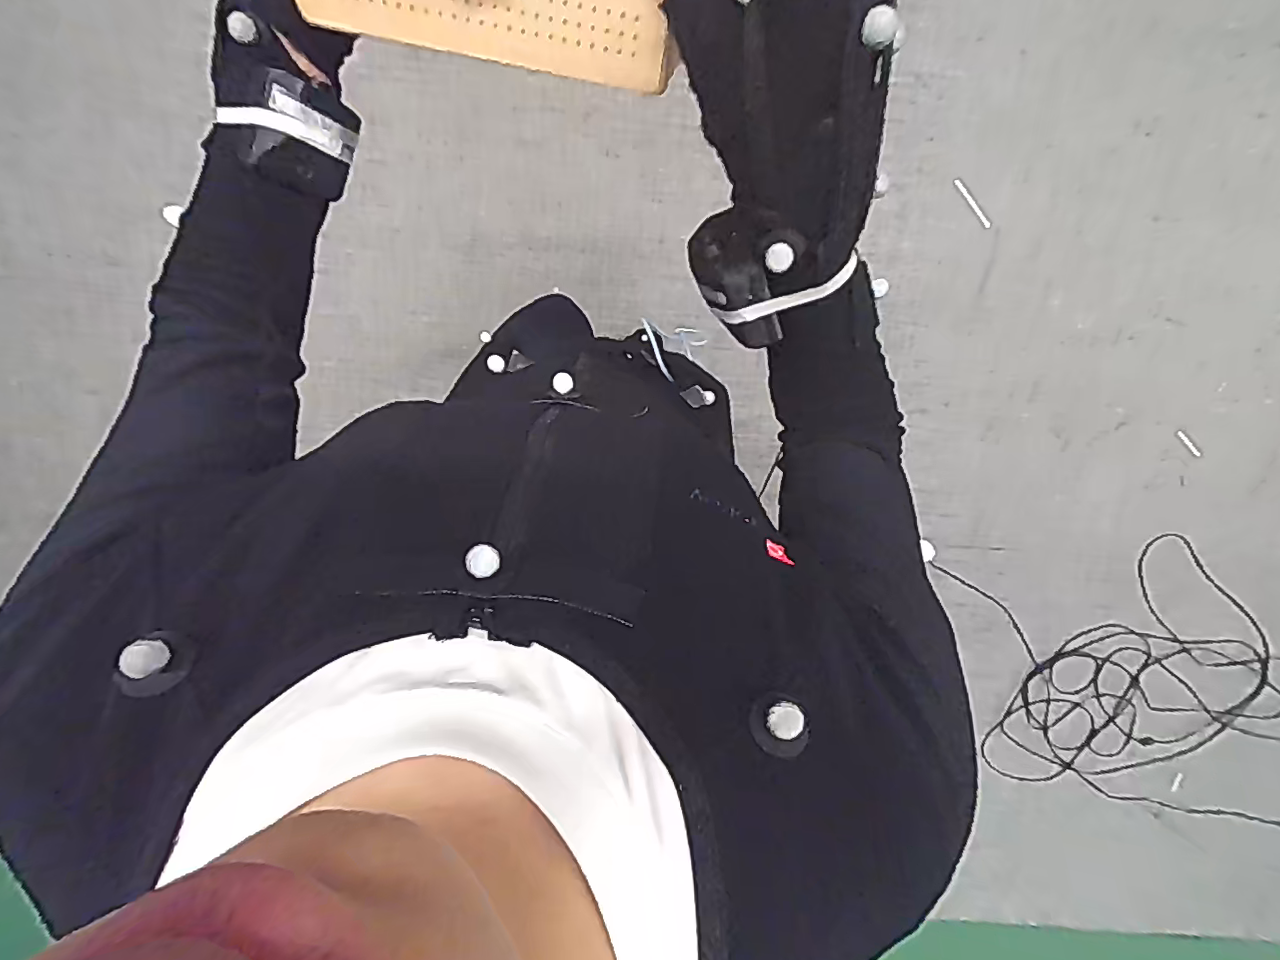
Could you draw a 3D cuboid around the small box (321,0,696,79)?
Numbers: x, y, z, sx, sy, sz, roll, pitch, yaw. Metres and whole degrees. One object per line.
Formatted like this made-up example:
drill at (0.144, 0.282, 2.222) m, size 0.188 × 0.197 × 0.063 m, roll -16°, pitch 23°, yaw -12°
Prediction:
small box at (-0.050, -0.315, 0.252) m, size 0.179 × 0.168 × 0.176 m, roll 12°, pitch 140°, yaw 0°
